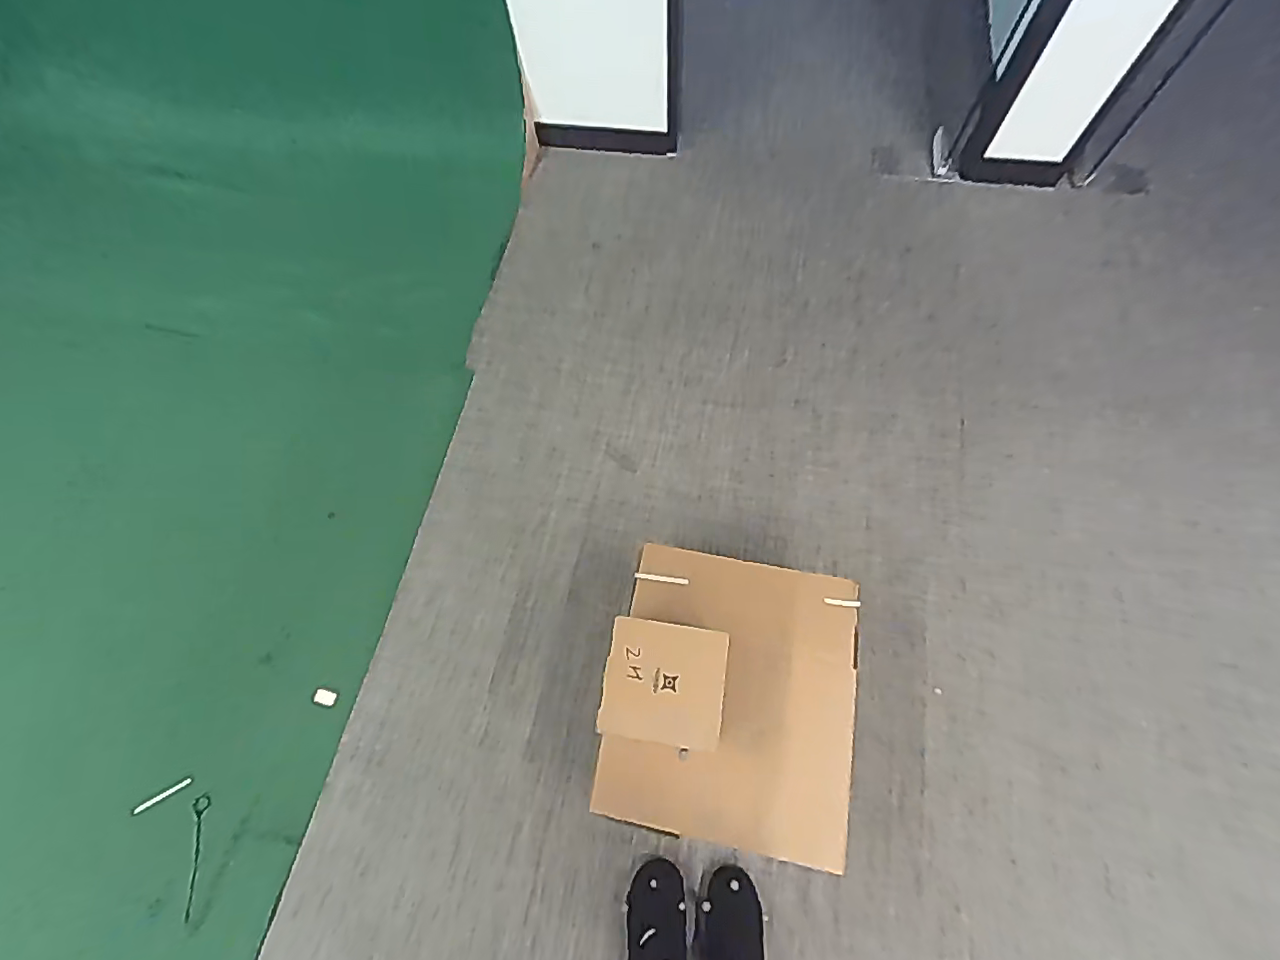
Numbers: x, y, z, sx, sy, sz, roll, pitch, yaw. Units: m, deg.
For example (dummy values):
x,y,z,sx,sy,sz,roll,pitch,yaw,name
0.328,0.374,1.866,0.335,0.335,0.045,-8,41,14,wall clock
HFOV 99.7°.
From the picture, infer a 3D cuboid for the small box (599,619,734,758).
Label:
x,y,z,sx,sy,sz,roll,pitch,yaw,name
0.046,0.326,0.850,0.179,0.176,0.168,7,66,8,small box
